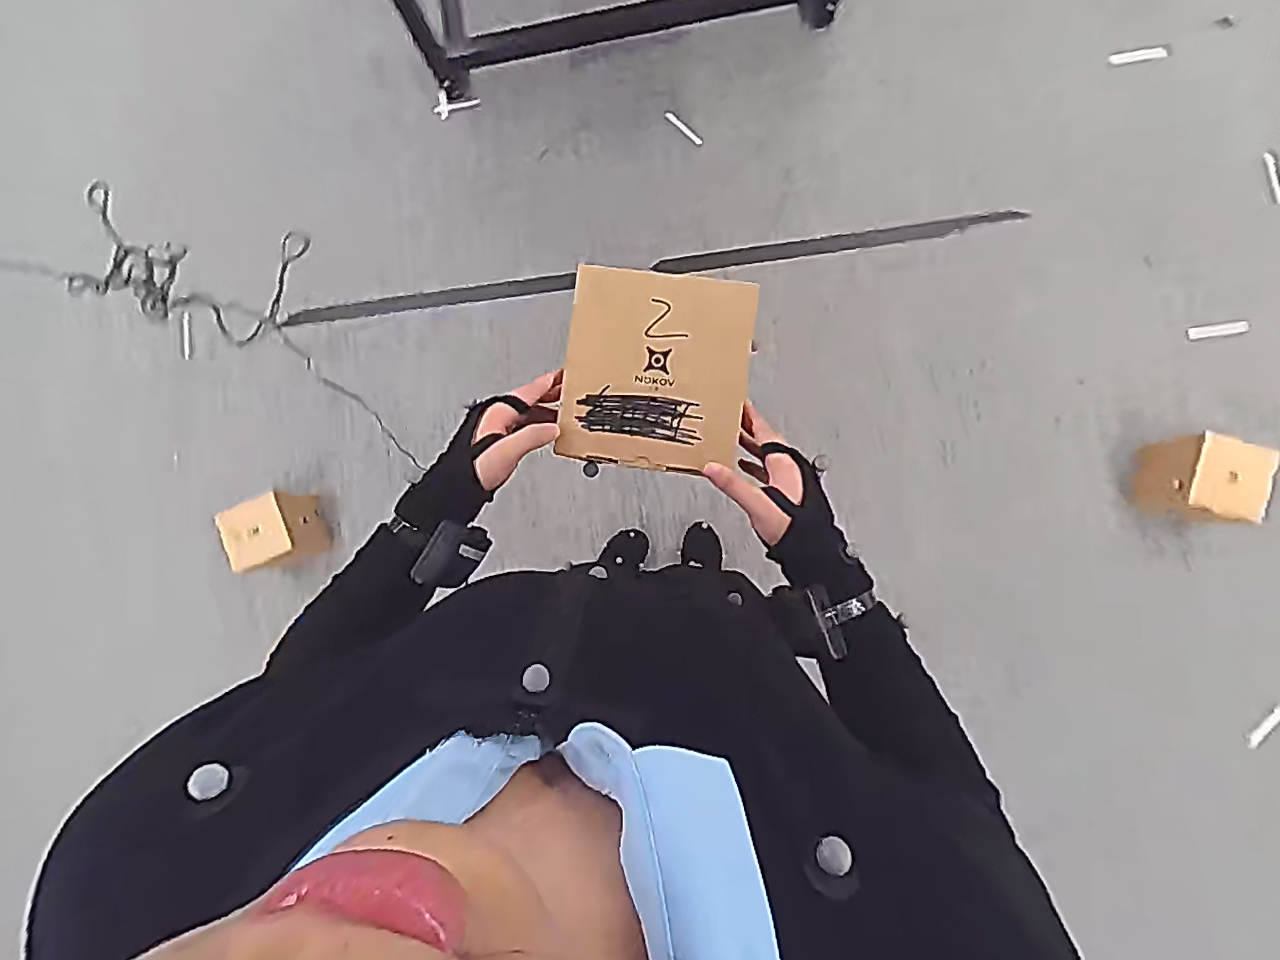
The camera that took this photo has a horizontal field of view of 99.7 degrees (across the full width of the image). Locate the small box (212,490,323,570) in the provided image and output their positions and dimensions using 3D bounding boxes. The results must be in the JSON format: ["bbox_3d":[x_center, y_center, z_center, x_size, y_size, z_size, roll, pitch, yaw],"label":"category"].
[{"bbox_3d":[-1.010,0.135,1.487,0.179,0.176,0.168,-23,84,2],"label":"small box"}]

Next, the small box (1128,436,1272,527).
[{"bbox_3d":[1.370,0.010,1.336,0.168,0.176,0.179,18,87,5],"label":"small box"}]
